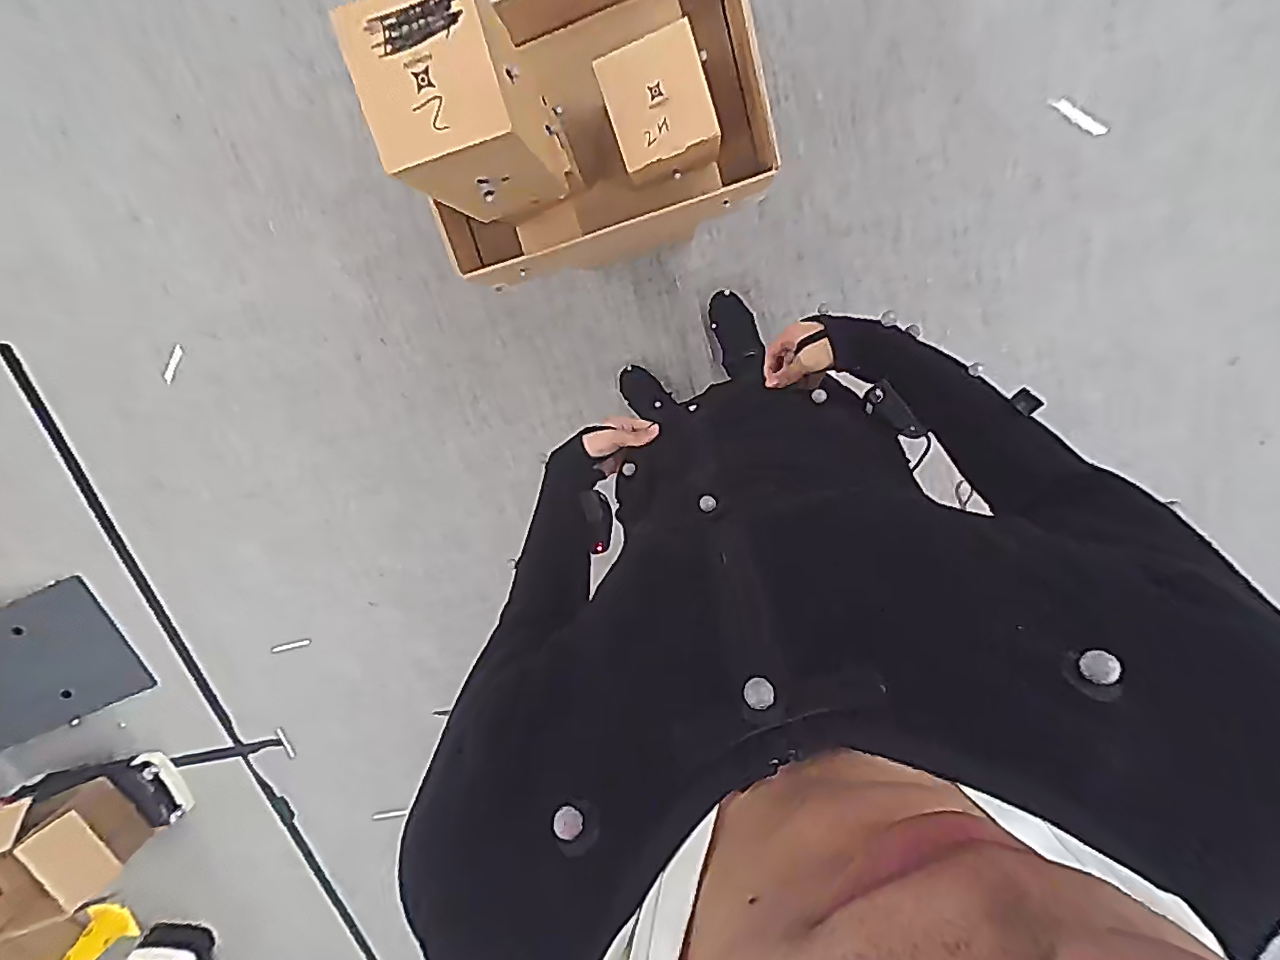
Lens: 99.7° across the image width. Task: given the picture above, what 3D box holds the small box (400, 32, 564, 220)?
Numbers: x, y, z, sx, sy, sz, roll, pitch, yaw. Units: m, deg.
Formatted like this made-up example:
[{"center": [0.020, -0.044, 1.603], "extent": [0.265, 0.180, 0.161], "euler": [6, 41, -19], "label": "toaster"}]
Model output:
[{"center": [-0.233, -0.533, 0.842], "extent": [0.168, 0.176, 0.179], "euler": [-14, 104, 9], "label": "small box"}]
